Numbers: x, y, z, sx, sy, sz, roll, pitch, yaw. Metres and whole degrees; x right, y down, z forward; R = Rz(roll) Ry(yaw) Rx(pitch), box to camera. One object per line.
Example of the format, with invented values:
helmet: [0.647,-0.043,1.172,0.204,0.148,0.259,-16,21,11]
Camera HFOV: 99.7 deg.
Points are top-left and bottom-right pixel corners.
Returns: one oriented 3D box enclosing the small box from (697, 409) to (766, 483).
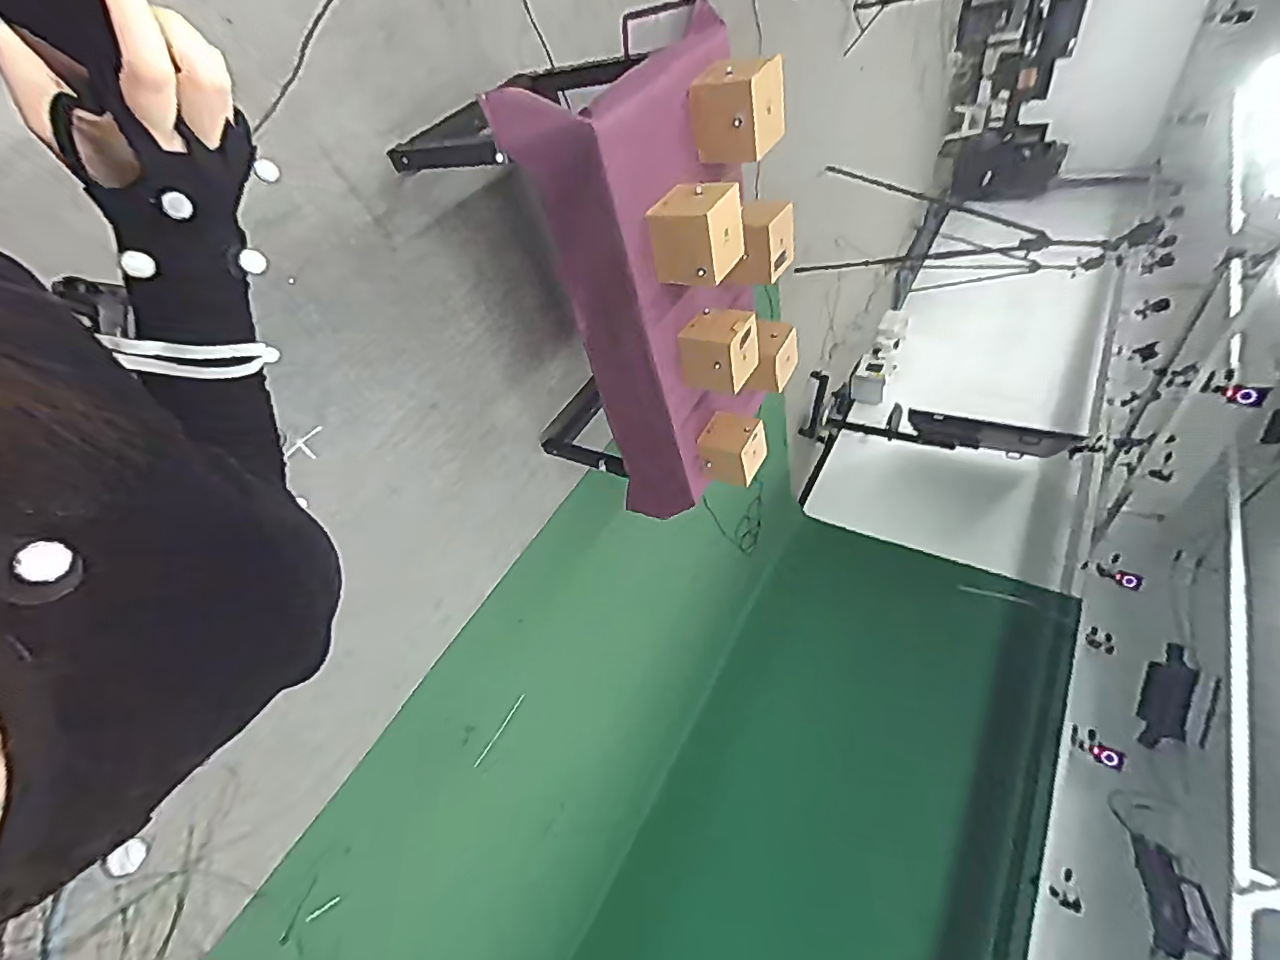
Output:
small box: [0.315,-0.122,1.850,0.168,0.176,0.179,-56,146,-28]

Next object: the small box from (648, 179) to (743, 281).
small box: [0.136,-0.608,1.318,0.168,0.176,0.179,-54,146,-29]

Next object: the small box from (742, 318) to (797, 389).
small box: [0.433,-0.446,1.878,0.179,0.176,0.168,-56,145,-26]

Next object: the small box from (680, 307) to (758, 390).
small box: [0.230,-0.390,1.579,0.168,0.176,0.179,-52,145,-31]
